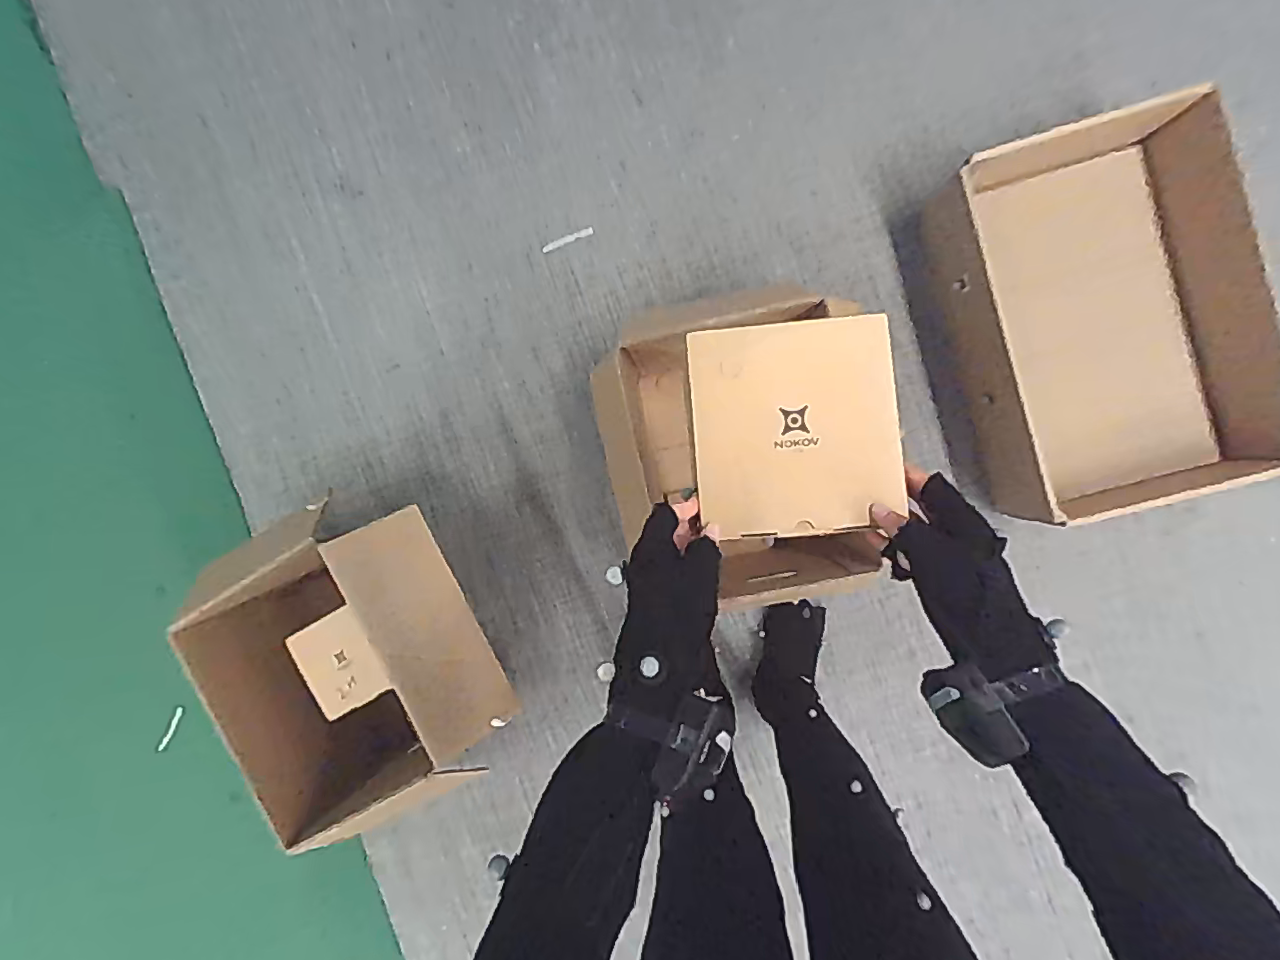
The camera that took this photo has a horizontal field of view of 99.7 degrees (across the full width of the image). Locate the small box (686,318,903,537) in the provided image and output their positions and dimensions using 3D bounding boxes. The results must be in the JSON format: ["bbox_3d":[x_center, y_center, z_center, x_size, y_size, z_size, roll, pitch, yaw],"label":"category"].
[{"bbox_3d":[0.133,-0.037,0.530,0.168,0.176,0.179,-6,85,5],"label":"small box"}]
